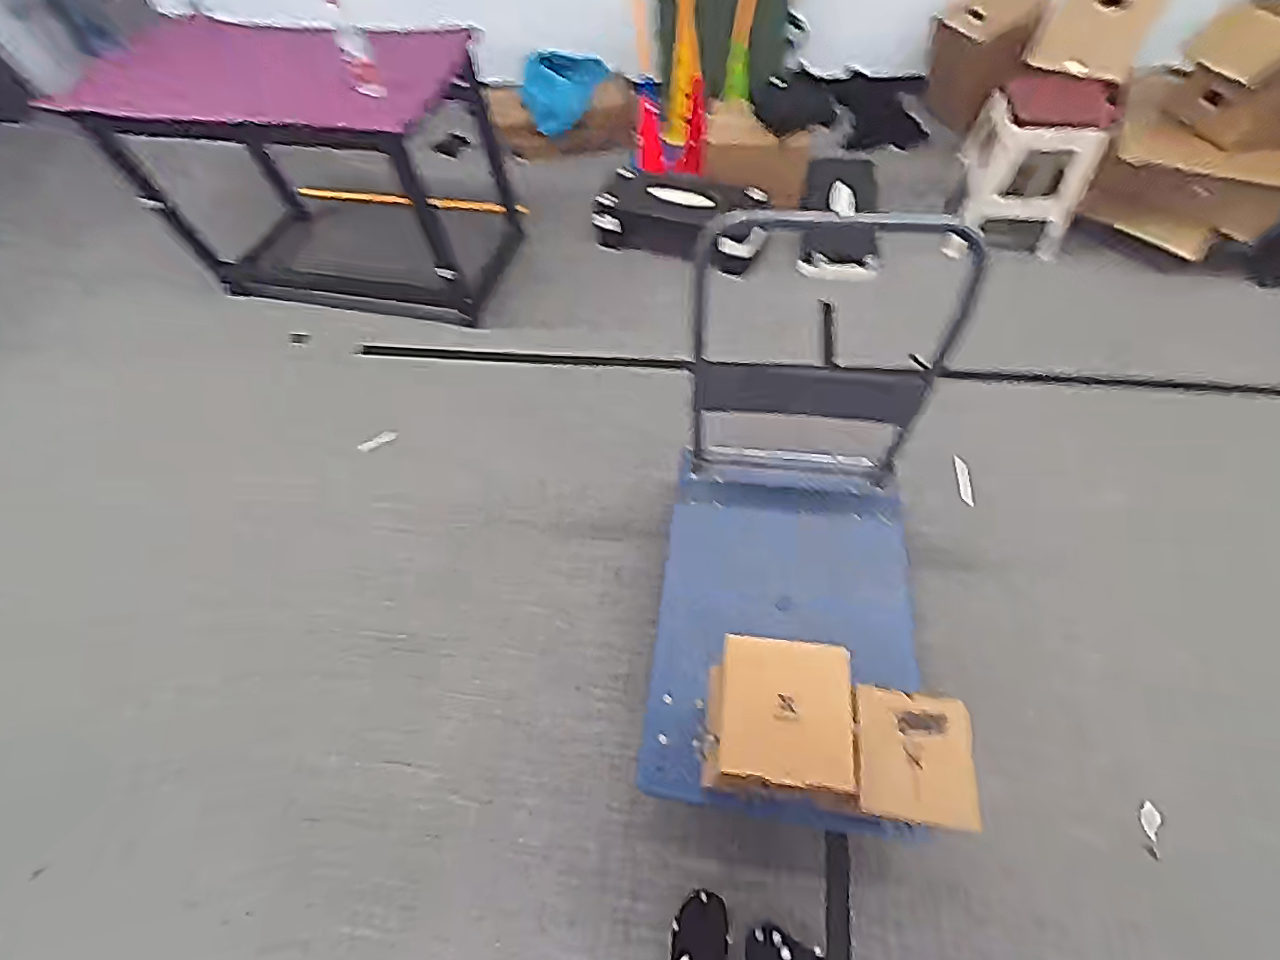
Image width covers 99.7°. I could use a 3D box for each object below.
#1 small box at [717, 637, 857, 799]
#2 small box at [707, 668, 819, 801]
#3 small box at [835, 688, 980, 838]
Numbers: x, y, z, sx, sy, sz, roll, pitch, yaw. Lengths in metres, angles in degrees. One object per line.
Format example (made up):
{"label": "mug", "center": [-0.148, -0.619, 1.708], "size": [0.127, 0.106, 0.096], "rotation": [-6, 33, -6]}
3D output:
{"label": "small box", "center": [0.200, 0.344, 0.775], "size": [0.168, 0.176, 0.179], "rotation": [5, 59, 8]}
{"label": "small box", "center": [0.201, 0.432, 0.913], "size": [0.168, 0.176, 0.179], "rotation": [3, 60, 6]}
{"label": "small box", "center": [0.418, 0.459, 0.878], "size": [0.168, 0.176, 0.179], "rotation": [7, 60, 9]}
